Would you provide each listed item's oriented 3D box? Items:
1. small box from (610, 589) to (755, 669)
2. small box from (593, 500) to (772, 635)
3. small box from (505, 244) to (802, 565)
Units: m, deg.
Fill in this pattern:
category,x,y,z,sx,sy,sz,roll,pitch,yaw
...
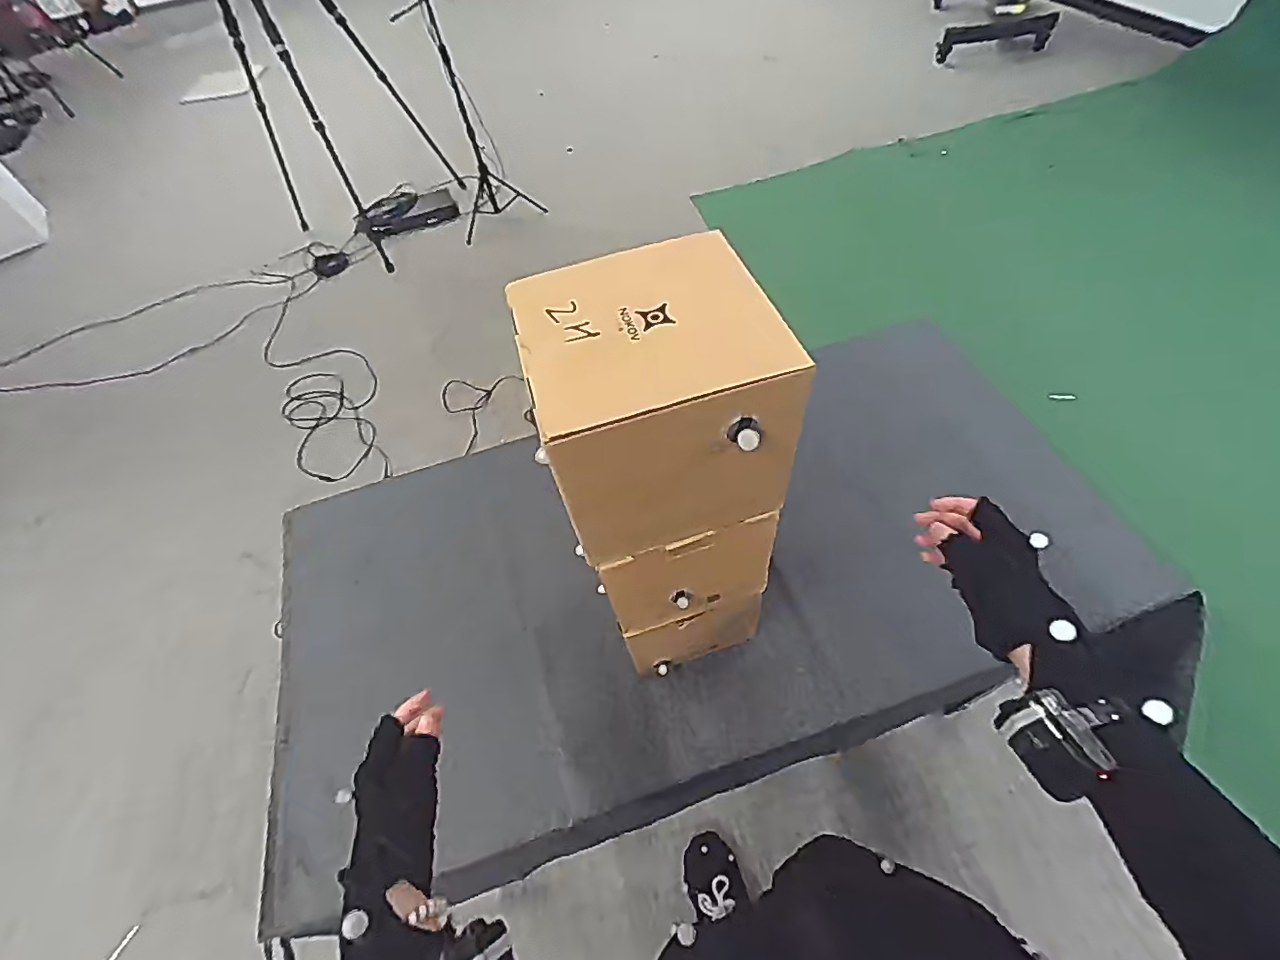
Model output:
category,x,y,z,sx,sy,sz,roll,pitch,yaw
small box,0.039,0.130,0.711,0.168,0.176,0.179,-18,54,-5
small box,0.022,0.038,0.579,0.168,0.176,0.179,-18,55,-5
small box,0.007,-0.055,0.443,0.179,0.176,0.168,-17,54,-4
